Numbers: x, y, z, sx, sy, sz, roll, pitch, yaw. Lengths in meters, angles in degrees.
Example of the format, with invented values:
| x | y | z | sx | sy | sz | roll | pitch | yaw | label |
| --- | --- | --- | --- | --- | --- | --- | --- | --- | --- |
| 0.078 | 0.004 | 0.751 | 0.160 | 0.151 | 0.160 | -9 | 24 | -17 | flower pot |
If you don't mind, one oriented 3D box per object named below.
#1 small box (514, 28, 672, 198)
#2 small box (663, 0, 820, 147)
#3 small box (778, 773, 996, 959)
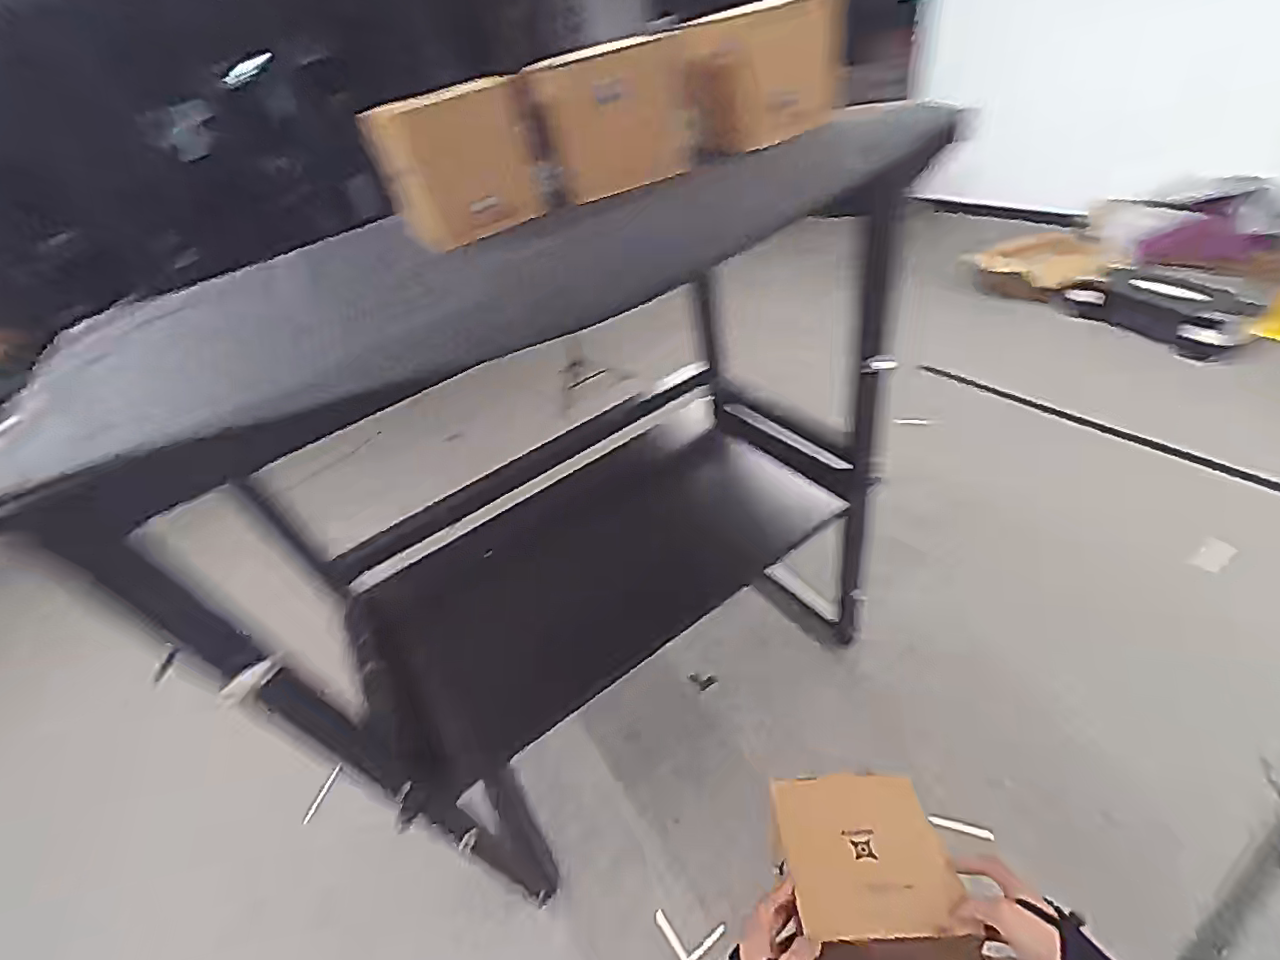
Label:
| x | y | z | sx | sy | sz | roll | pitch | yaw | label |
| --- | --- | --- | --- | --- | --- | --- | --- | --- | --- |
| -0.069 | -0.542 | 0.807 | 0.179 | 0.176 | 0.168 | -21 | 41 | -7 | small box |
| 0.158 | -0.641 | 0.849 | 0.168 | 0.176 | 0.179 | -28 | 42 | -14 | small box |
| 0.247 | 0.456 | 0.590 | 0.168 | 0.176 | 0.179 | -5 | 20 | 4 | small box |
